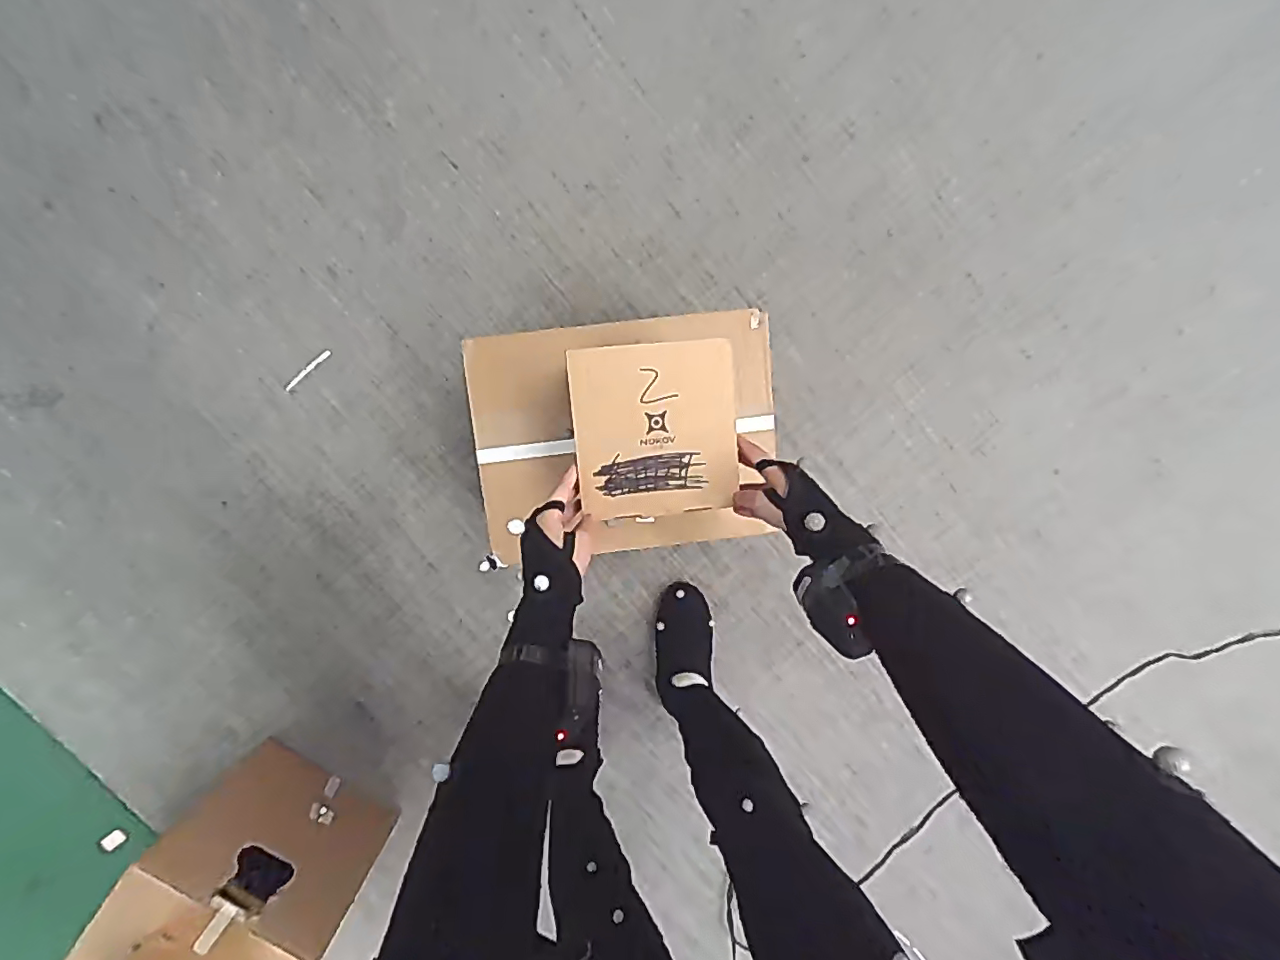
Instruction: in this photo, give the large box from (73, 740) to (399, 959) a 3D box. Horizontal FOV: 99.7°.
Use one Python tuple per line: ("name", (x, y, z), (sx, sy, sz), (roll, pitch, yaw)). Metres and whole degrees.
("large box", (-0.717, 0.774, 0.962), (0.320, 0.320, 0.408), (35, 95, -4))
